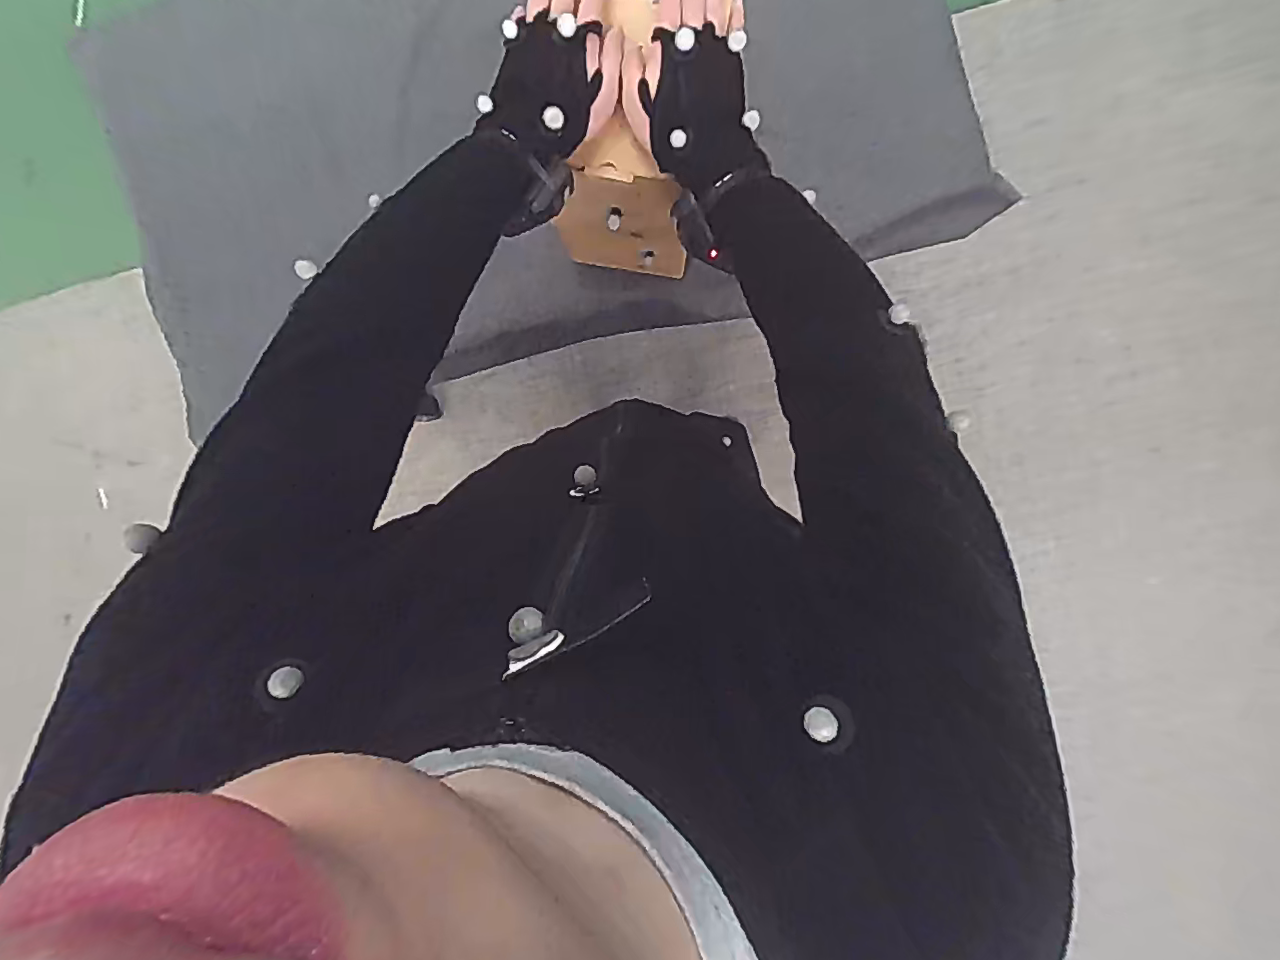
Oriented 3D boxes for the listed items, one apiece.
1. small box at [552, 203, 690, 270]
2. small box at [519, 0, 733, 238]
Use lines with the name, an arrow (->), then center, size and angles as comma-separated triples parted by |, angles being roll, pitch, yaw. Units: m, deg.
small box -> -0.008, -0.391, 0.703 | 0.168, 0.176, 0.179 | 9, 95, 1
small box -> -0.010, -0.365, 0.543 | 0.168, 0.176, 0.179 | 10, 97, 0
